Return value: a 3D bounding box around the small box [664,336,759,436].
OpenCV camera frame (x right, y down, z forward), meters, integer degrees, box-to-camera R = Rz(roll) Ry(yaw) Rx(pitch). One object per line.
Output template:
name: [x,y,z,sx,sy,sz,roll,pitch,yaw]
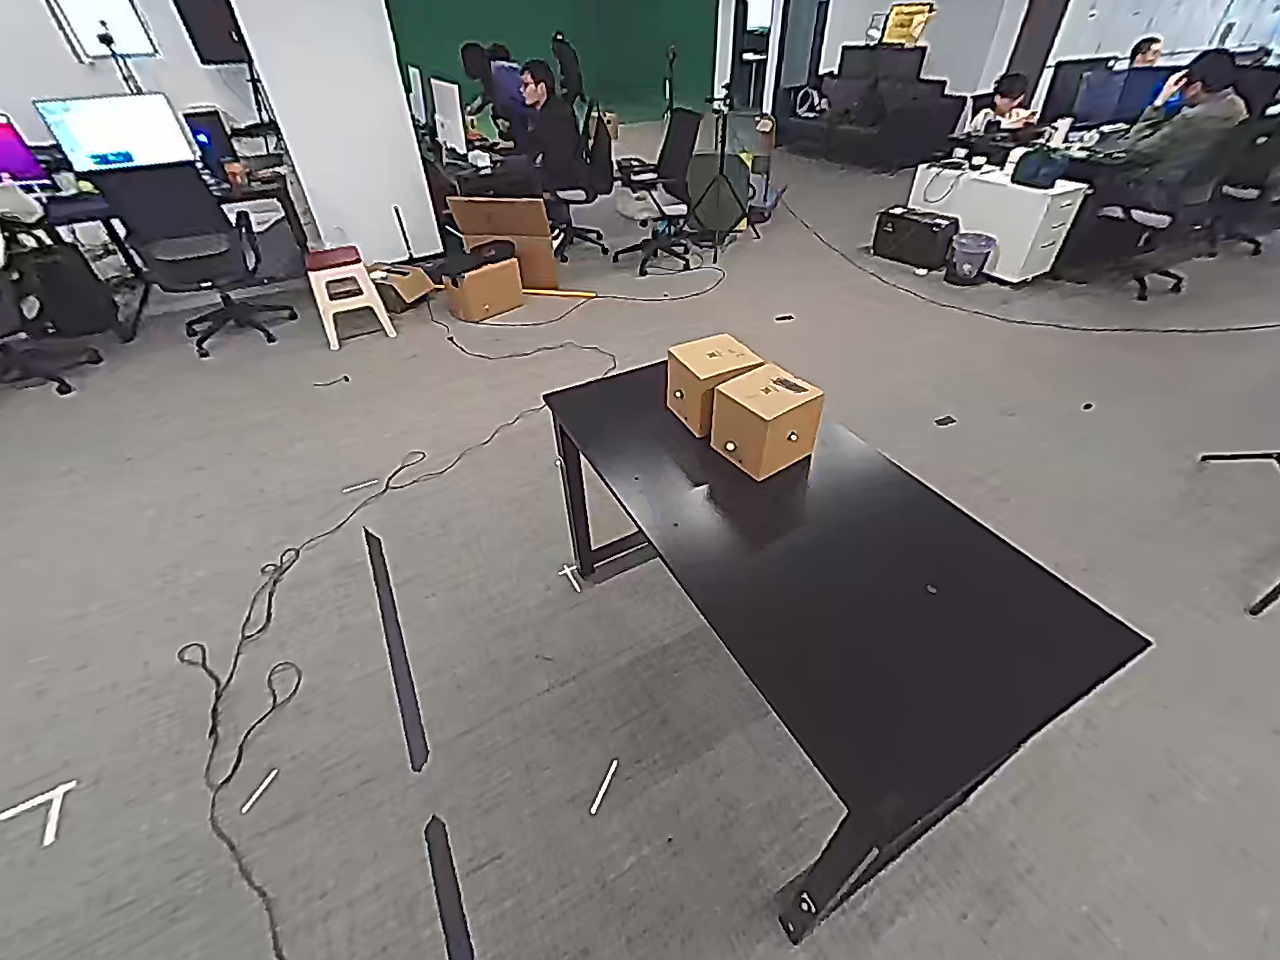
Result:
small box: [0.174,-0.232,1.349,0.179,0.176,0.168,-19,44,-18]
